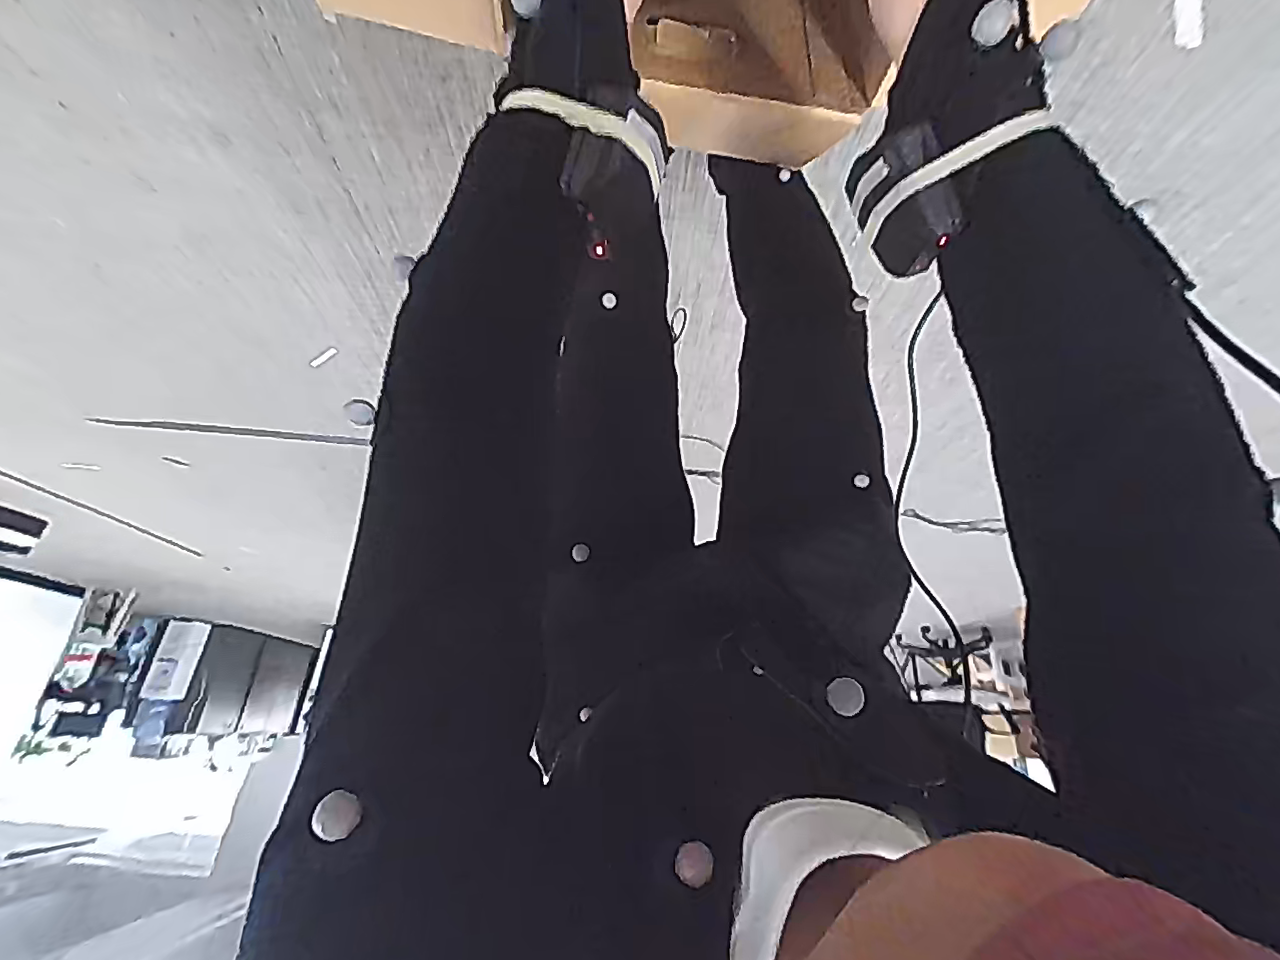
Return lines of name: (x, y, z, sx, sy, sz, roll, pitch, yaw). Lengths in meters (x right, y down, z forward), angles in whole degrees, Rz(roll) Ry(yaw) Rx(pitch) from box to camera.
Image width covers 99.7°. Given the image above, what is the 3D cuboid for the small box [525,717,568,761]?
small box: (-0.413, 1.150, 2.403, 0.179, 0.168, 0.176, -1, 157, -7)
